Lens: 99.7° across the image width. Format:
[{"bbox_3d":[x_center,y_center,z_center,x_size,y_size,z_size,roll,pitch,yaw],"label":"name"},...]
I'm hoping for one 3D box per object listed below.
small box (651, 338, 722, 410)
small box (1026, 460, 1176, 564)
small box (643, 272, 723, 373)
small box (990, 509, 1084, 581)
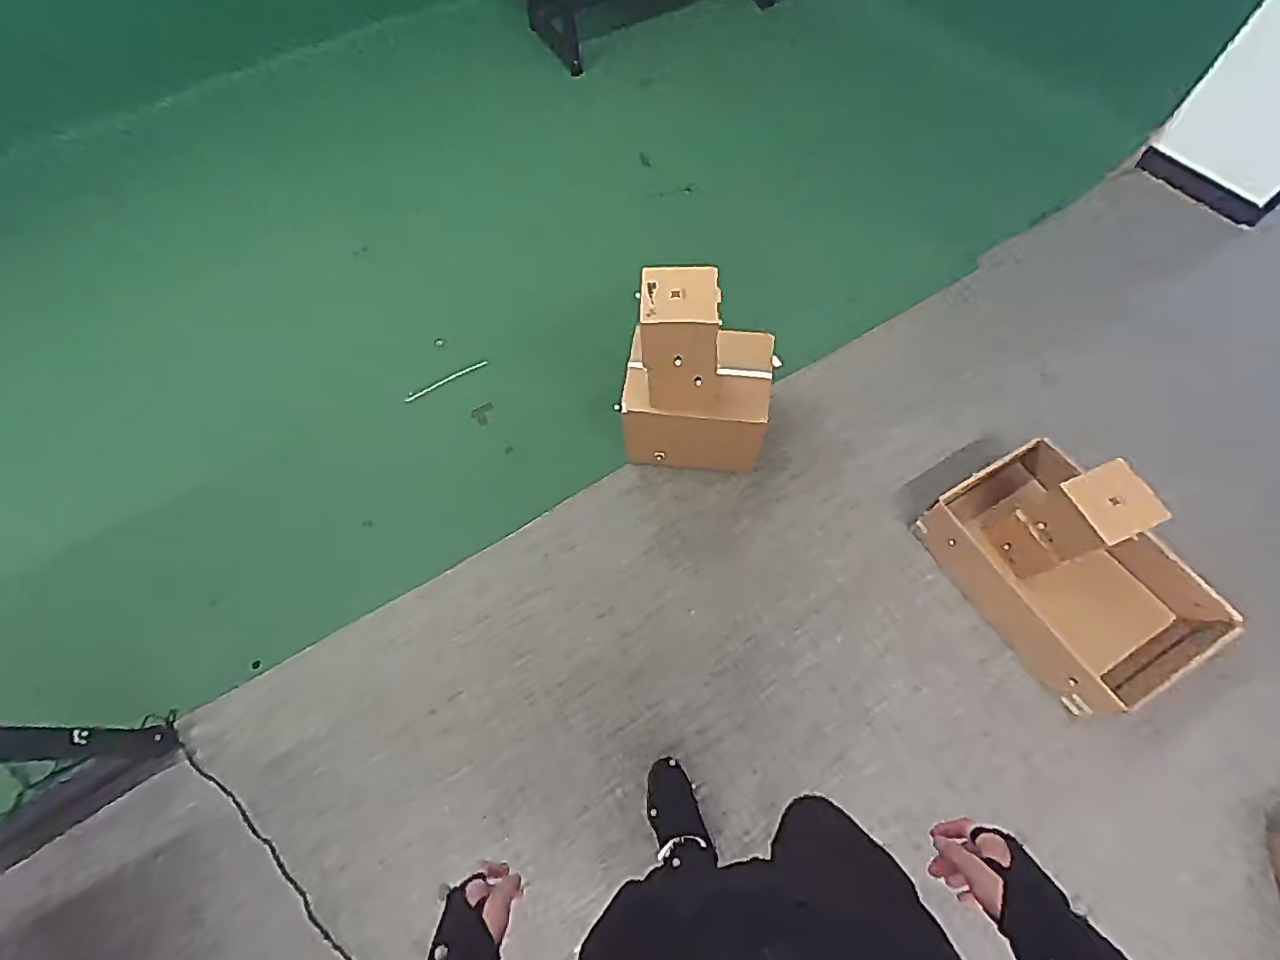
[{"bbox_3d":[0.120,-0.298,1.436,0.179,0.176,0.168,1,64,3],"label":"small box"},{"bbox_3d":[1.090,0.081,1.296,0.179,0.176,0.168,-22,67,-6],"label":"small box"},{"bbox_3d":[0.100,-0.371,1.290,0.179,0.176,0.168,2,64,3],"label":"small box"},{"bbox_3d":[1.093,0.149,1.445,0.179,0.176,0.168,-26,68,-7],"label":"small box"}]
